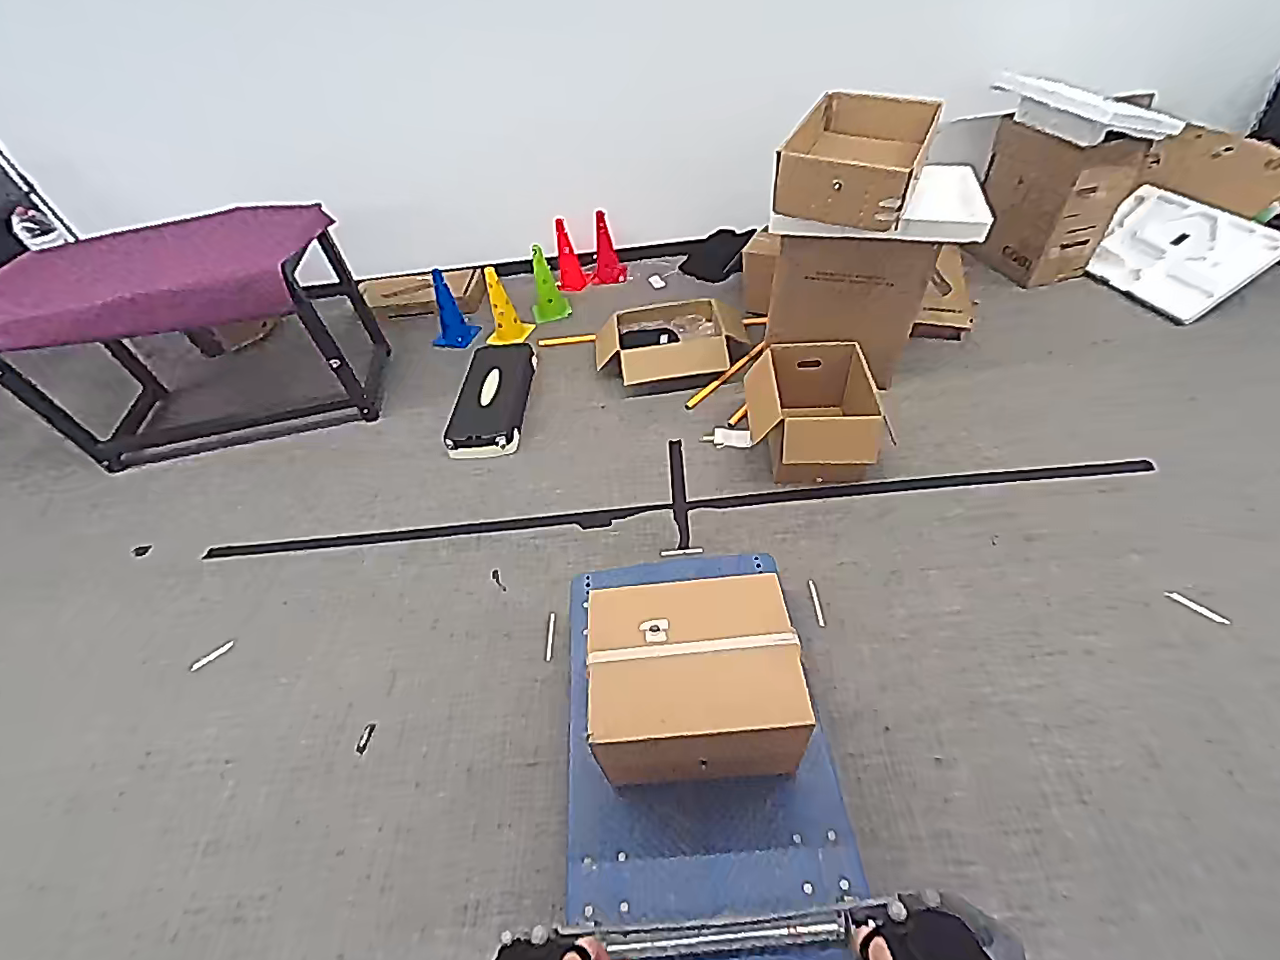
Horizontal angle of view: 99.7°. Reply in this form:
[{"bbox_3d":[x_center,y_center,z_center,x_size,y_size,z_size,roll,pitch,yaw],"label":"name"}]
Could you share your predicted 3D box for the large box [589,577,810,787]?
[{"bbox_3d":[0.116,0.446,1.178,0.408,0.320,0.320,-7,46,2],"label":"large box"}]
